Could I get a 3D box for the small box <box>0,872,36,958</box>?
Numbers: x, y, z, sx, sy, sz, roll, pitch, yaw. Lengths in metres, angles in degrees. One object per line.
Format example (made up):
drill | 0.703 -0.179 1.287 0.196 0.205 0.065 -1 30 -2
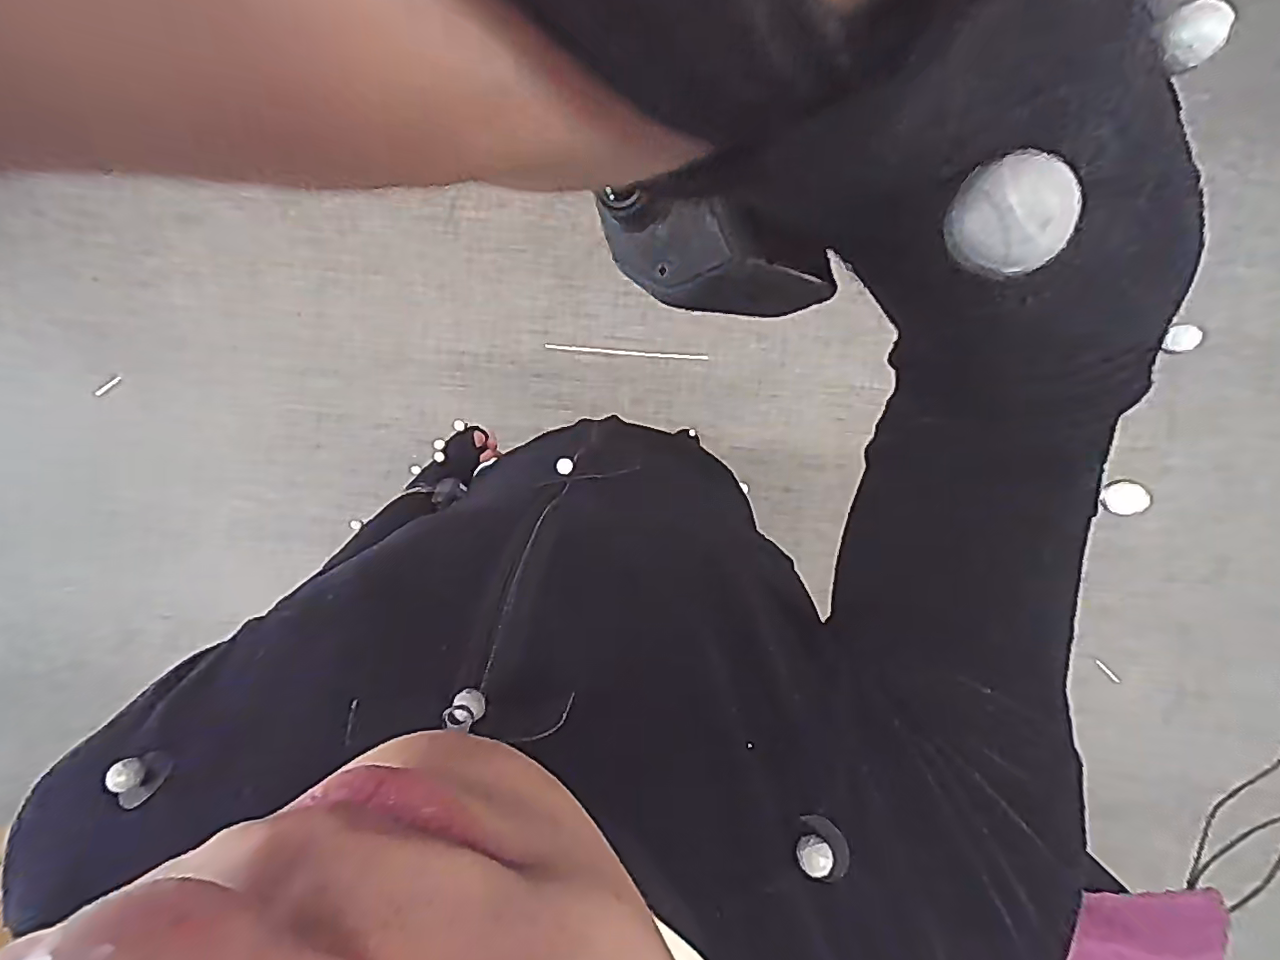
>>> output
small box | -1.559 1.030 1.232 0.179 0.176 0.168 6 94 -1
